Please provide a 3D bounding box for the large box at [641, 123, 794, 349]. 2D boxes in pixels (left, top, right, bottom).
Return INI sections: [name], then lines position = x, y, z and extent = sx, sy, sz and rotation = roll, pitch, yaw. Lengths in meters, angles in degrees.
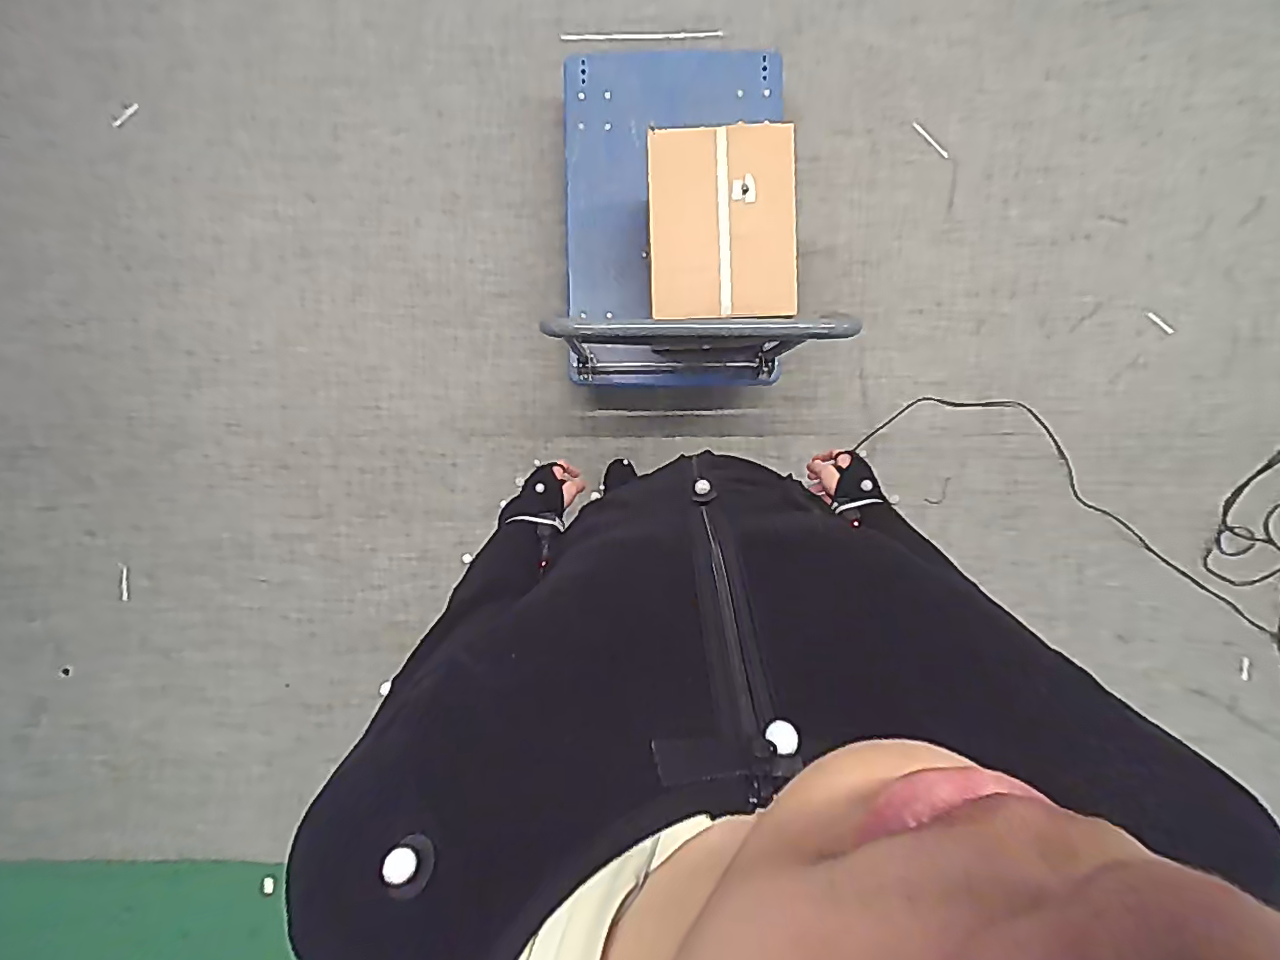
[large box]
position = 0.168, -0.550, 1.292
extent = 0.320, 0.320, 0.408
rotation = -2, 92, 0
